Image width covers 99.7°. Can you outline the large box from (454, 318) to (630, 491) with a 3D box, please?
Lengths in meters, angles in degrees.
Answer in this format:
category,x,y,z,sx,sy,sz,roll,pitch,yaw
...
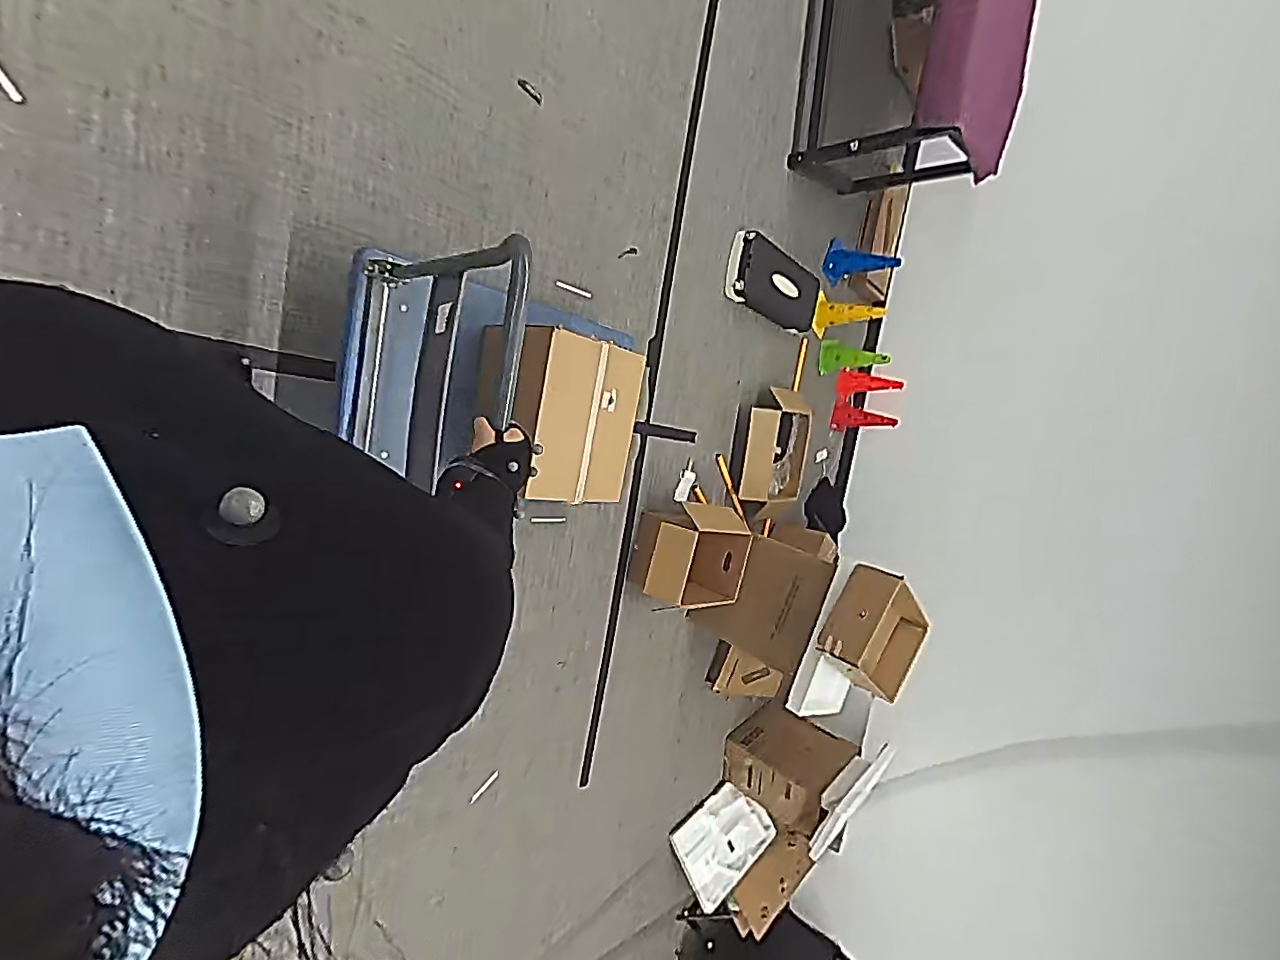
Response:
category,x,y,z,sx,sy,sz,roll,pitch,yaw
large box,-0.268,-0.195,1.453,0.320,0.320,0.408,5,98,-48
